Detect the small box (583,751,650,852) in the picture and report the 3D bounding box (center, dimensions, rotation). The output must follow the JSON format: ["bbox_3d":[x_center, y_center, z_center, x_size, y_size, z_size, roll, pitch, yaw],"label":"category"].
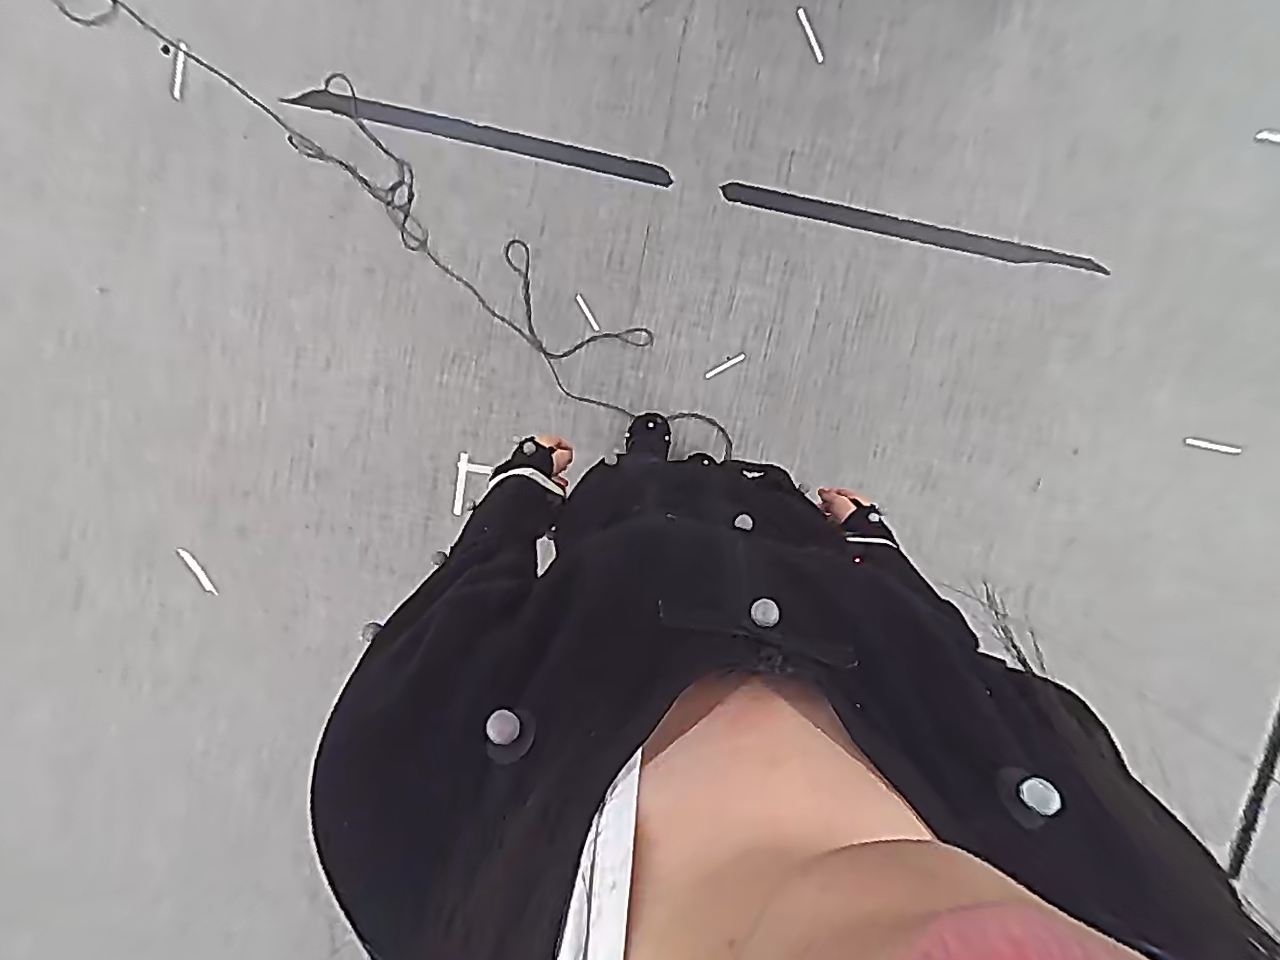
[{"bbox_3d":[-0.063,0.873,1.483,0.168,0.176,0.179,4,95,-1],"label":"small box"}]
